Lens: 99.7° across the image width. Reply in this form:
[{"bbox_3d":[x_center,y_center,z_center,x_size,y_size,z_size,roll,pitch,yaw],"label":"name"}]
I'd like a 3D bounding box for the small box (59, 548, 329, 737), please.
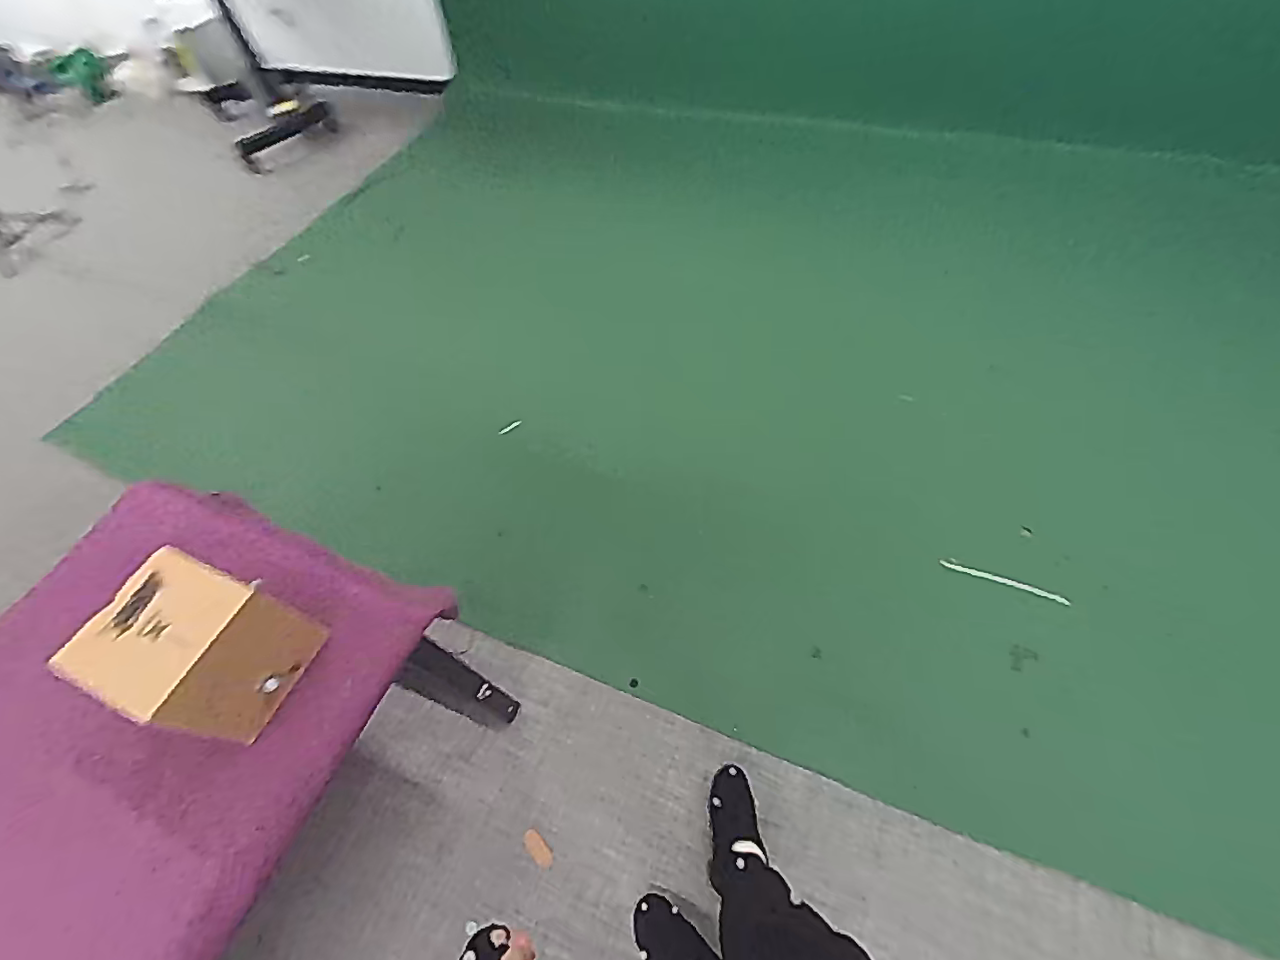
[{"bbox_3d":[-0.568,0.219,0.715,0.179,0.176,0.168,17,60,17],"label":"small box"}]
